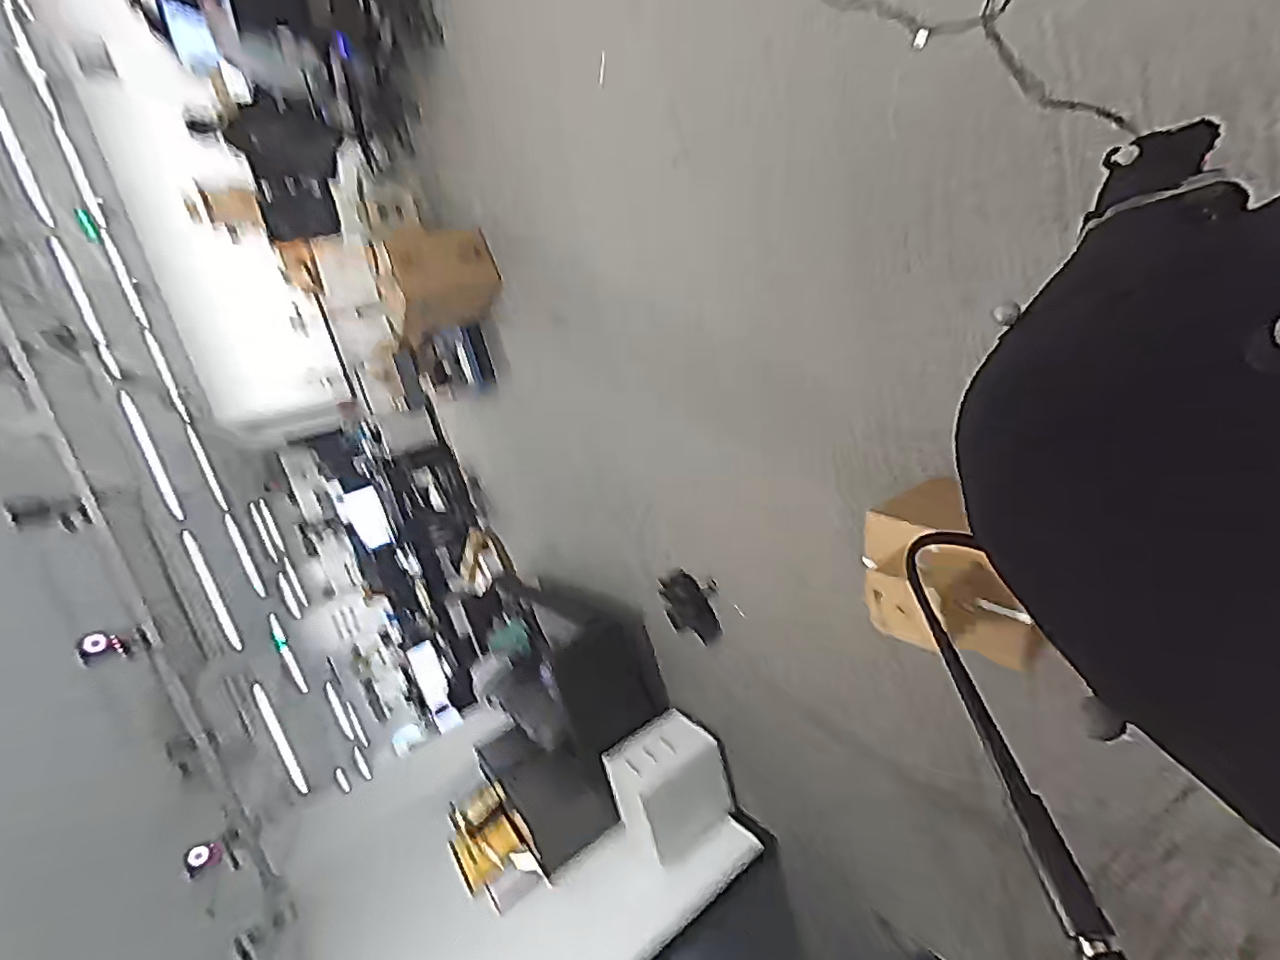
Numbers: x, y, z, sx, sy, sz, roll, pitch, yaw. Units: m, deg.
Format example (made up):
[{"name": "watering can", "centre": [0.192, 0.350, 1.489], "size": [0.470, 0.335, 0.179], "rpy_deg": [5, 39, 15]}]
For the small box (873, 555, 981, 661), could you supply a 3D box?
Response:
[{"name": "small box", "centre": [0.690, 0.295, 1.290], "size": [0.179, 0.176, 0.168], "rpy_deg": [10, 116, 56]}]
